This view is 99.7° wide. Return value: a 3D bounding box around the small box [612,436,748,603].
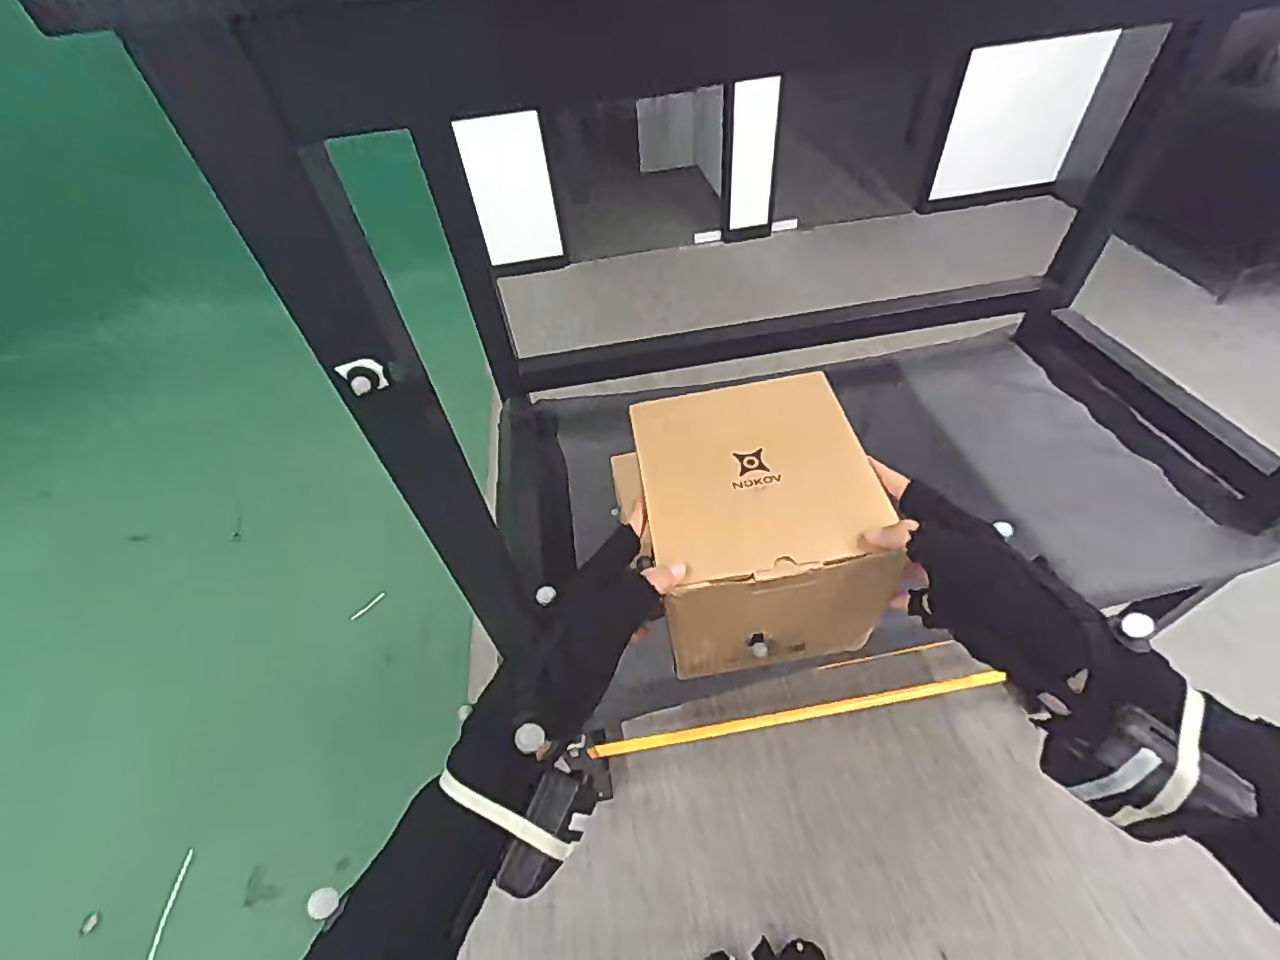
[{"bbox_3d":[0.056,0.061,0.833,0.168,0.176,0.179,-11,48,-4],"label":"small box"}]
